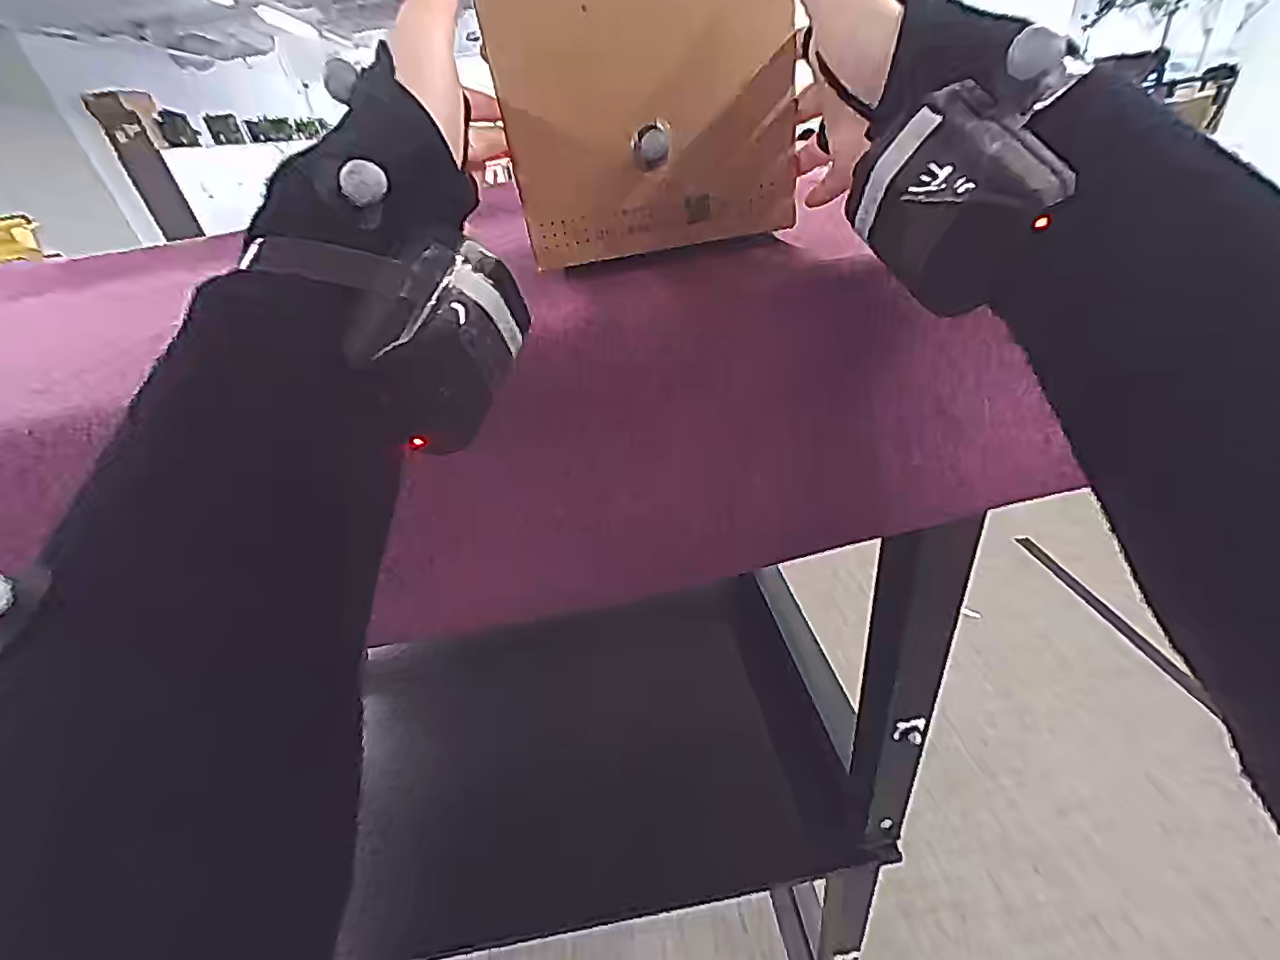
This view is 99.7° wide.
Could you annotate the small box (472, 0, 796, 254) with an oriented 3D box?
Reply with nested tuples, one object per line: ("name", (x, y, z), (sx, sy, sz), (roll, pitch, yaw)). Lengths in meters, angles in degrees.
("small box", (-0.004, -0.254, 0.353), (0.168, 0.176, 0.179), (-10, 31, 1))
